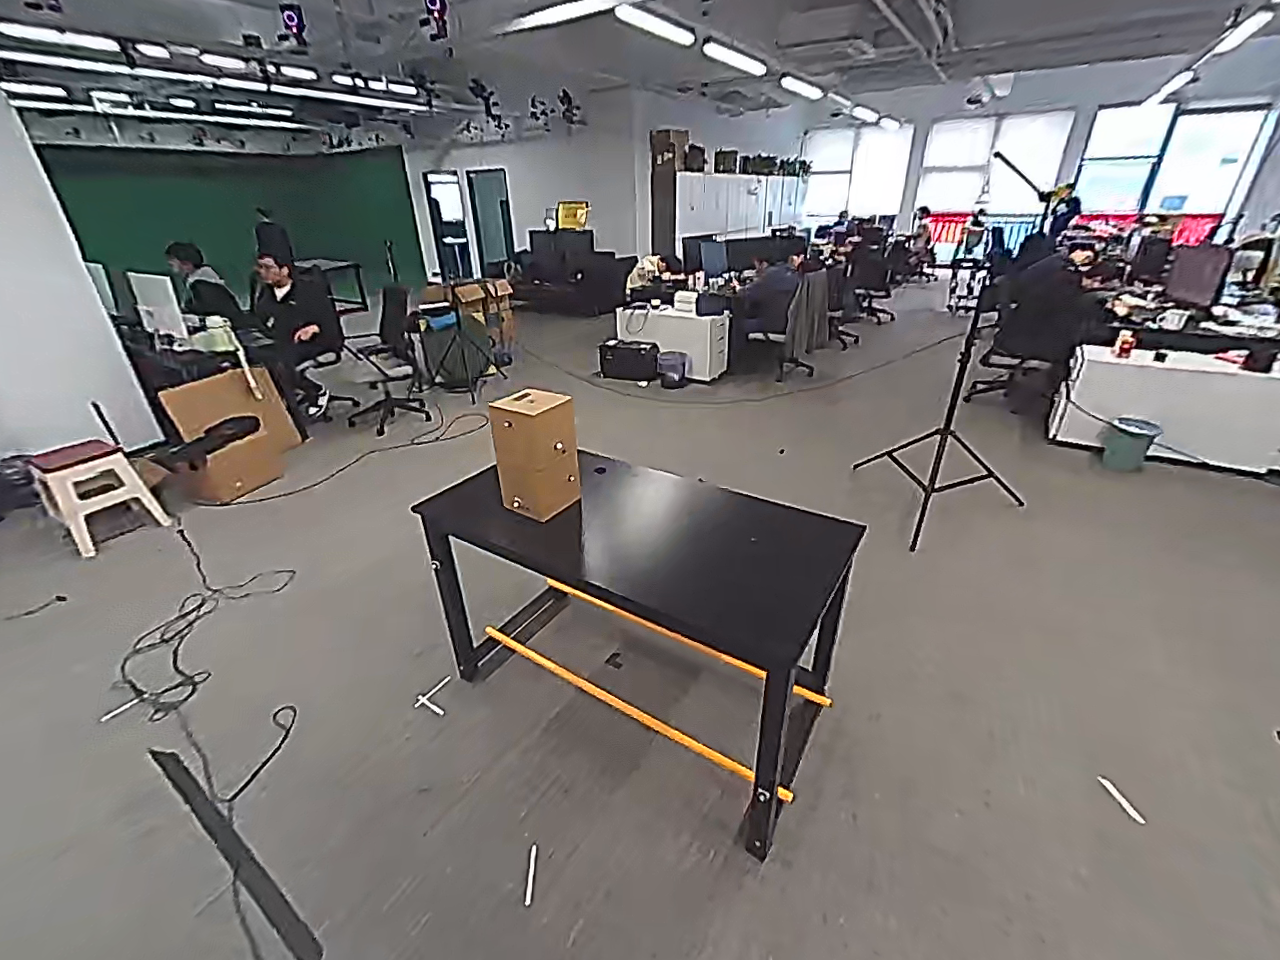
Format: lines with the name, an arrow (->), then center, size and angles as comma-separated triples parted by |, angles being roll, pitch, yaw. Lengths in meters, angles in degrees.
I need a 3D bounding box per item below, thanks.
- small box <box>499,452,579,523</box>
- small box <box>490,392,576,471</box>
small box -> -0.297, 0.005, 1.632 | 0.168, 0.176, 0.179 | 14, 32, 30
small box -> -0.302, -0.141, 1.555 | 0.179, 0.176, 0.168 | 15, 31, 29
